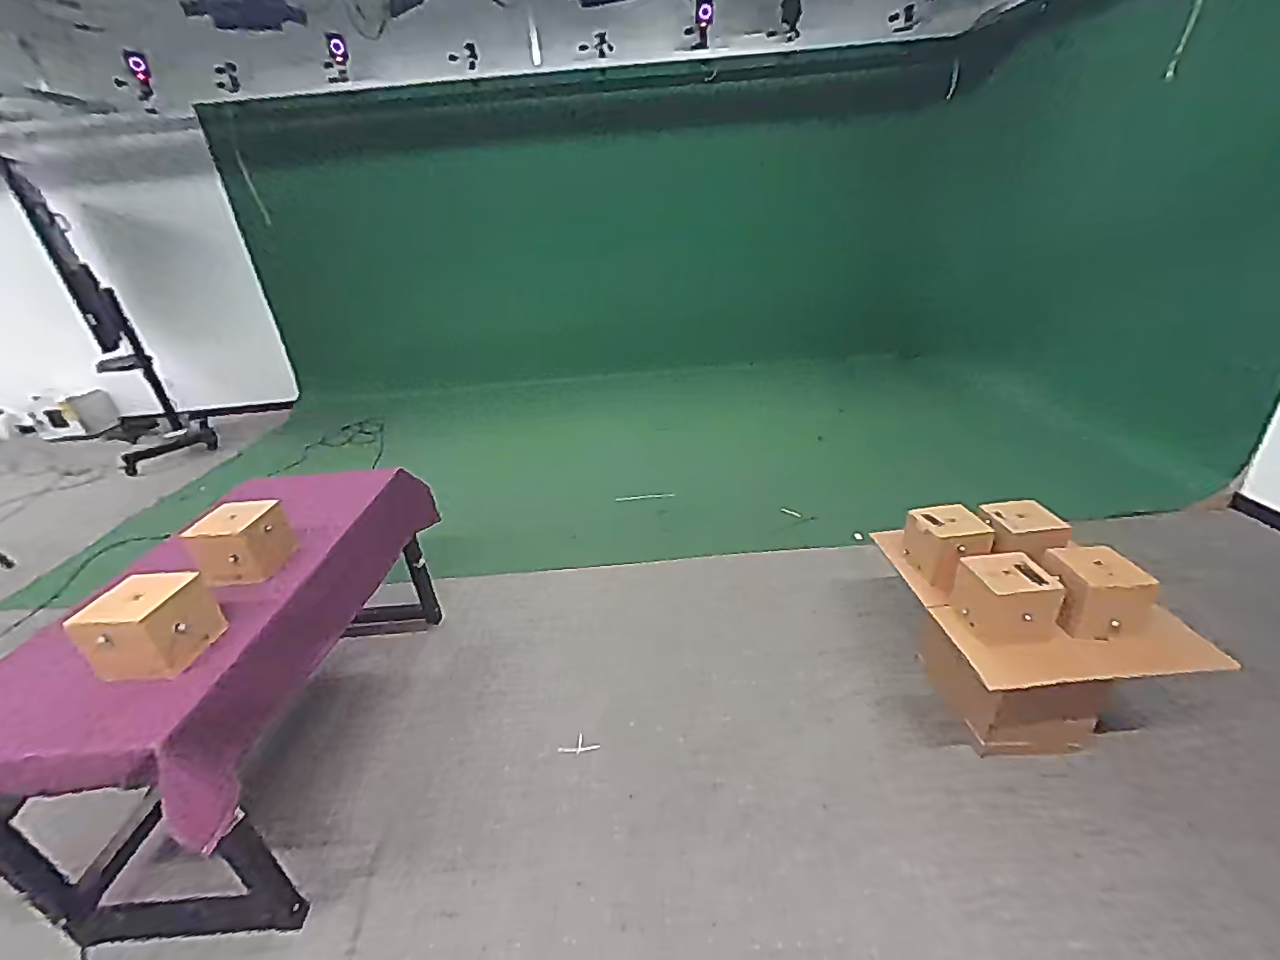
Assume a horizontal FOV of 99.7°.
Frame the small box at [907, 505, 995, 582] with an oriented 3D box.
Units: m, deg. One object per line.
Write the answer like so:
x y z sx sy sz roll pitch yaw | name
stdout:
0.944 0.196 1.660 0.179 0.176 0.168 -7 27 -4 | small box

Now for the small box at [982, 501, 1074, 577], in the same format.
1.158 0.180 1.648 0.179 0.176 0.168 -5 25 -1 | small box

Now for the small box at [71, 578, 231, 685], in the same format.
-1.083 0.341 1.219 0.179 0.176 0.168 -4 27 5 | small box

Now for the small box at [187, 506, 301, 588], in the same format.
-1.097 0.192 1.518 0.168 0.176 0.179 -4 26 3 | small box
